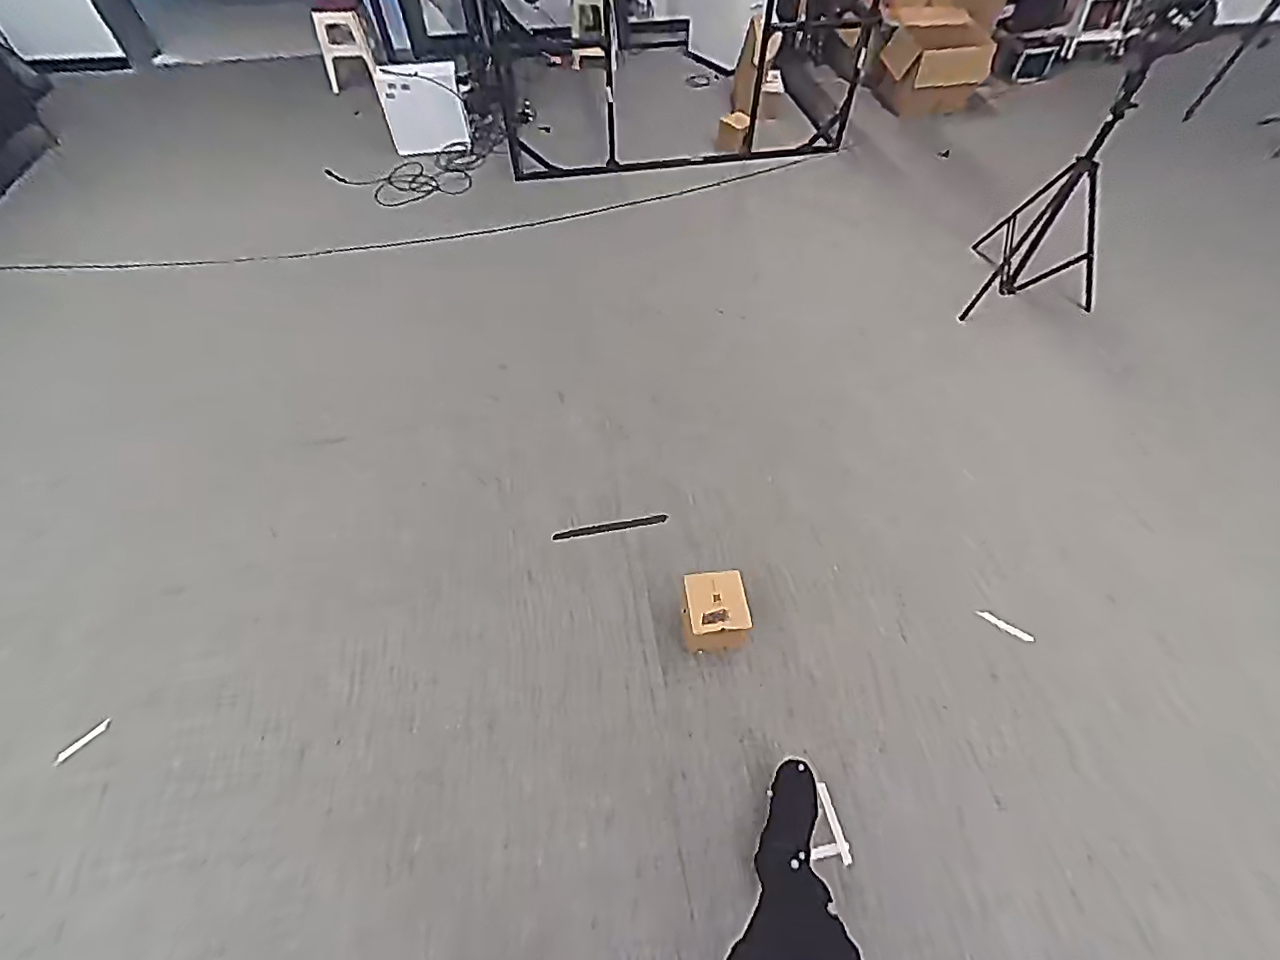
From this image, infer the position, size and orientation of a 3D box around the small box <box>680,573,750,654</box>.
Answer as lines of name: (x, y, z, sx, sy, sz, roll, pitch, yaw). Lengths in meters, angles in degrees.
small box: (0.210, 0.390, 1.559, 0.168, 0.176, 0.179, -5, 54, -4)
